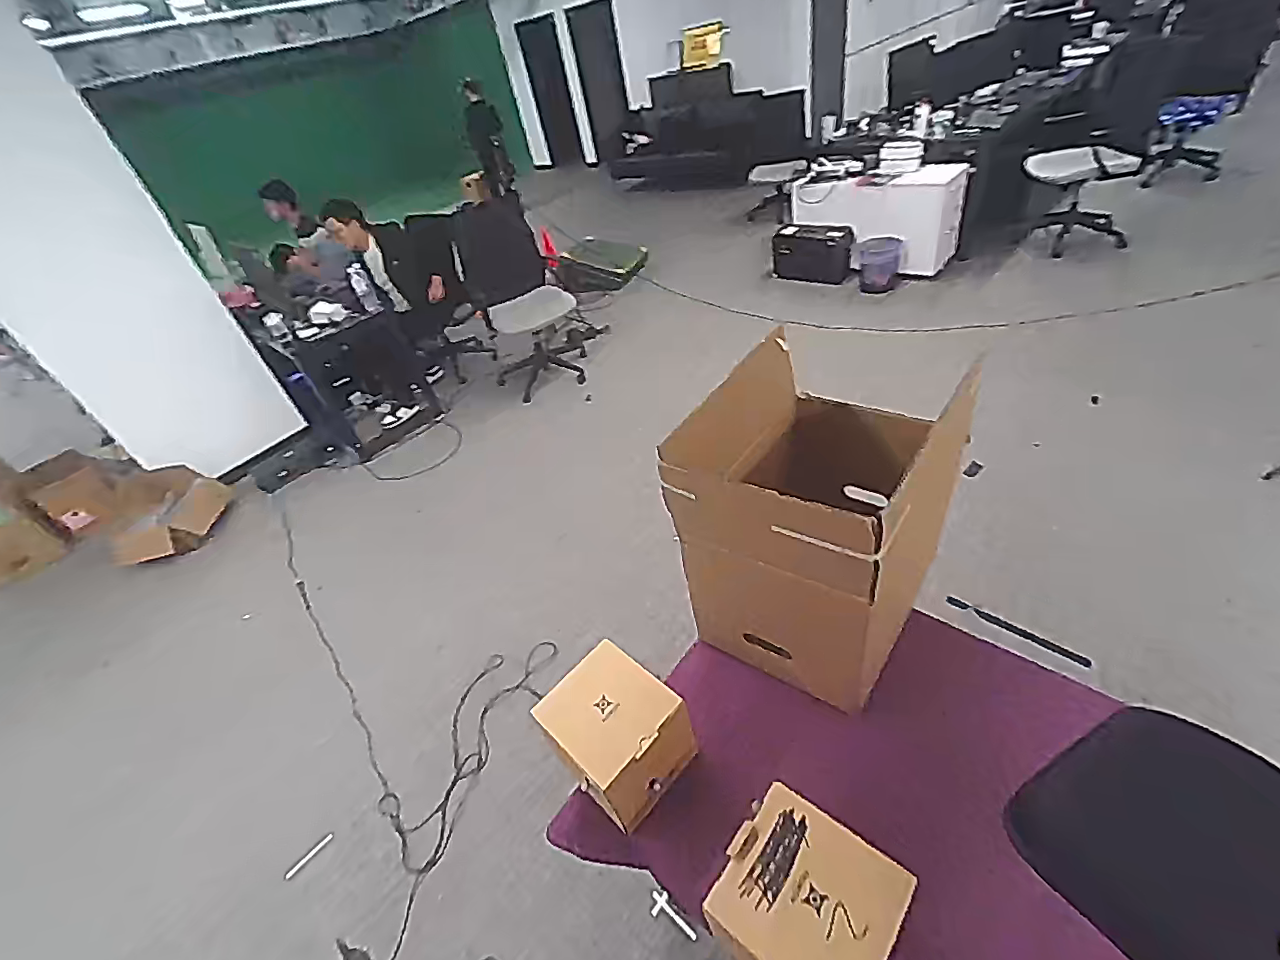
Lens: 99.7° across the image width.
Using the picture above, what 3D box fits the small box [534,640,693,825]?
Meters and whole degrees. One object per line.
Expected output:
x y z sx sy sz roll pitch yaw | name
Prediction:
-0.036 0.398 0.855 0.179 0.176 0.168 28 54 38 | small box
